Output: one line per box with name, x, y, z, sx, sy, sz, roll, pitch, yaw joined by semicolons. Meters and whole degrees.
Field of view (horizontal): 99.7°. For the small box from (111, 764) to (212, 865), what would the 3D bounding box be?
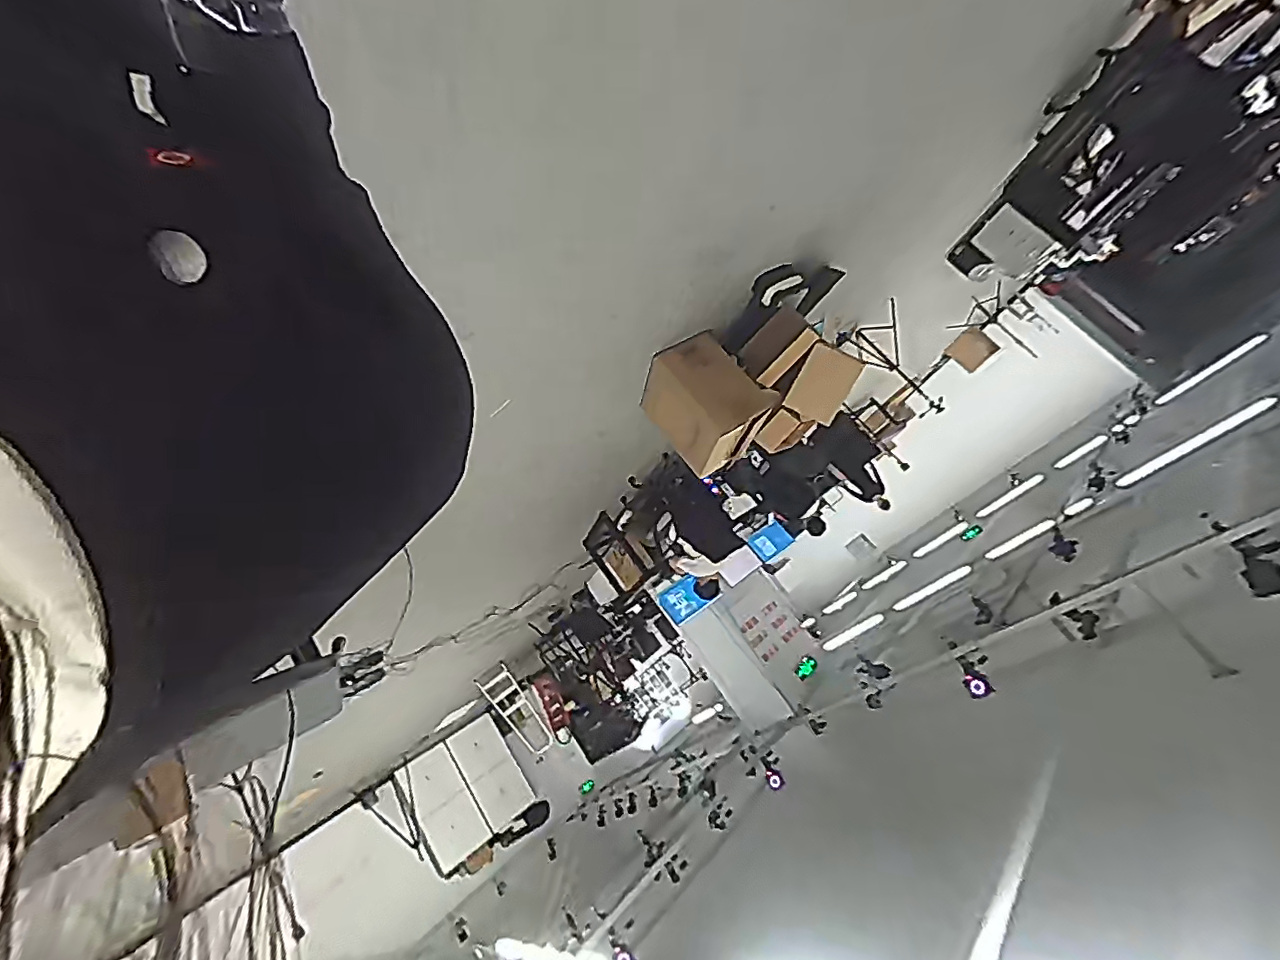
small box;-1.391;0.970;1.573;0.179;0.176;0.168;-24;159;-41
